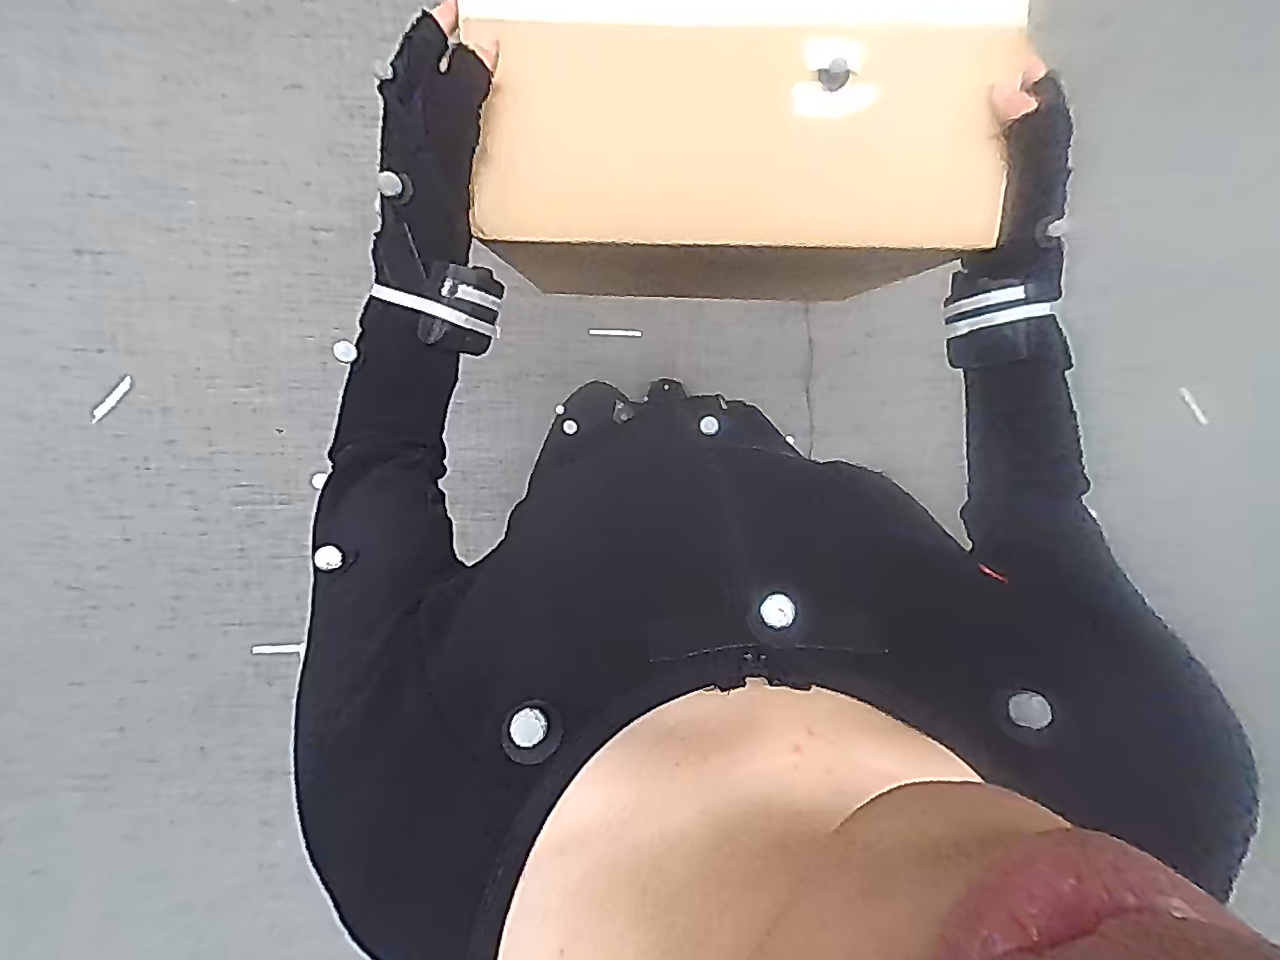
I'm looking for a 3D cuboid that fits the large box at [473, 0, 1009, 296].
[{"bbox_3d":[0.071,-0.371,0.544,0.408,0.320,0.320,1,101,-1],"label":"large box"}]
